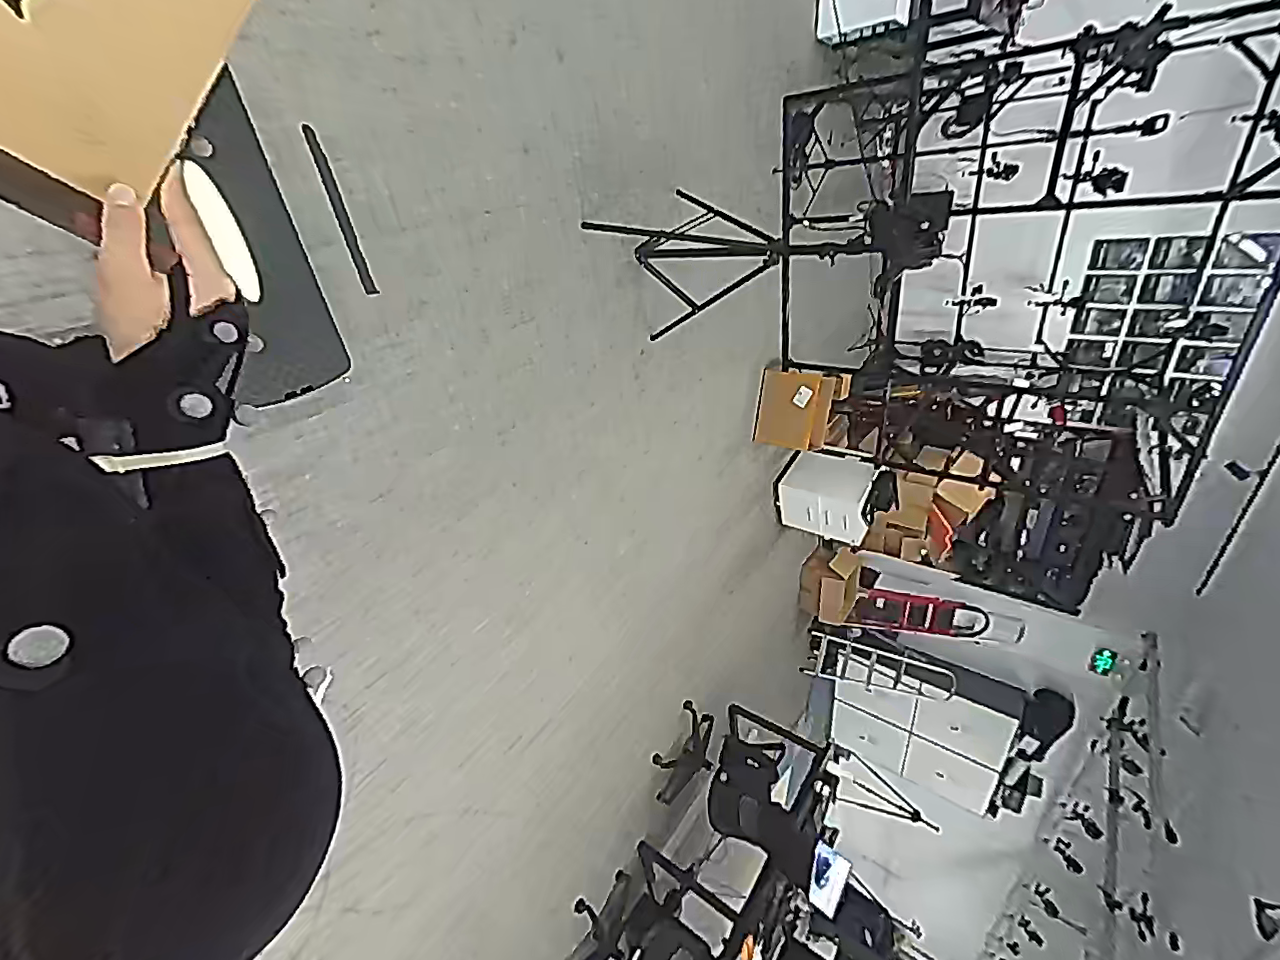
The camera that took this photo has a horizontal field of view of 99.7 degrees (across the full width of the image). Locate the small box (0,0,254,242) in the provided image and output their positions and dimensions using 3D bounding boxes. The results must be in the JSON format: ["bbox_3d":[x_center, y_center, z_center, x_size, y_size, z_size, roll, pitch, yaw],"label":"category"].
[{"bbox_3d":[-0.381,-0.273,0.329,0.168,0.176,0.179,29,77,-48],"label":"small box"}]
